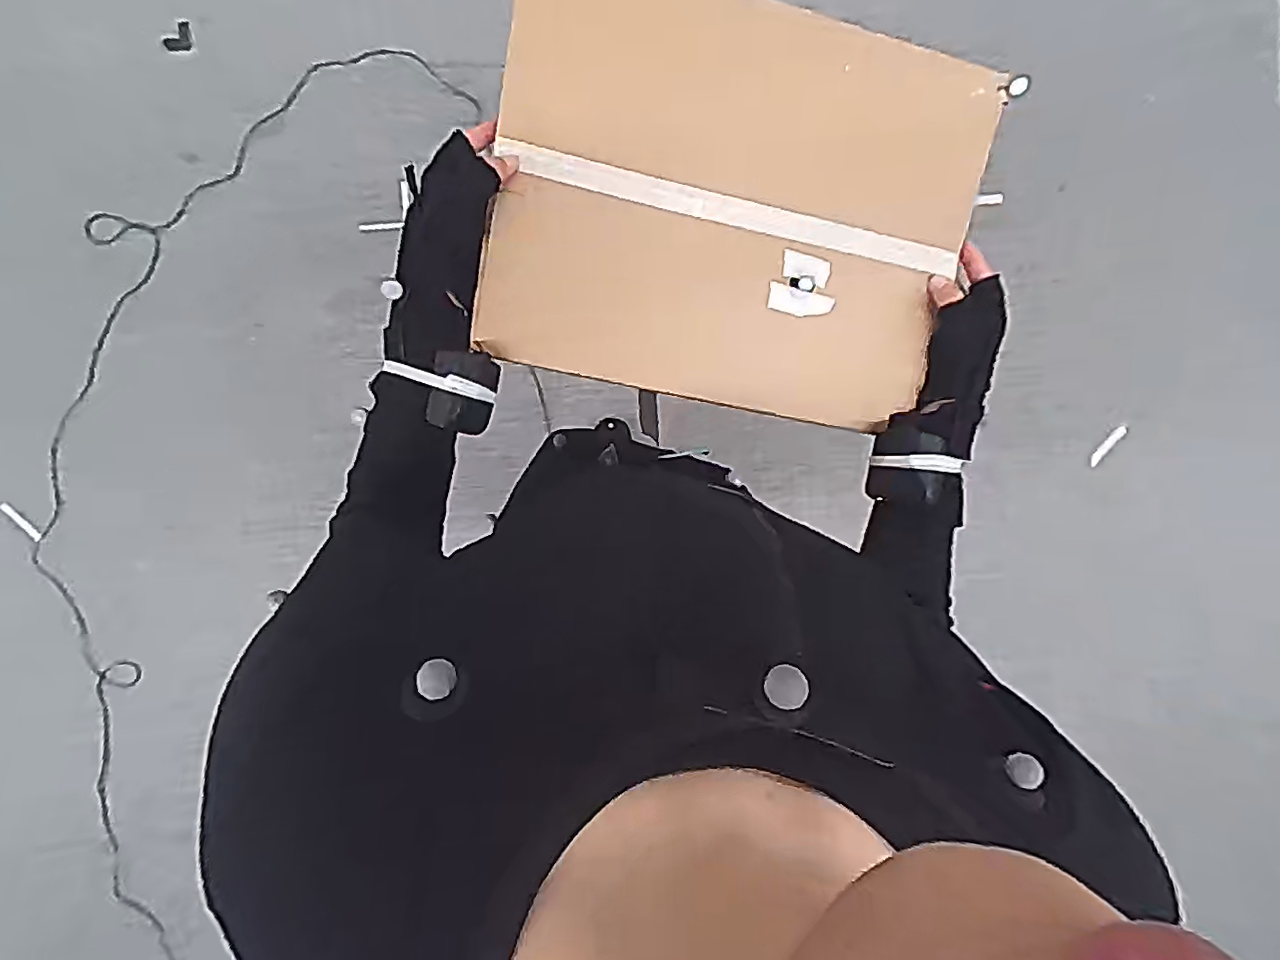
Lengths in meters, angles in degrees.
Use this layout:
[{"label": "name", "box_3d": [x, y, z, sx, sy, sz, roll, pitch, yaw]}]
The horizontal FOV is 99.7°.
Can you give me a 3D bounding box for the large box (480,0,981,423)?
[{"label": "large box", "box_3d": [0.059, -0.260, 0.611, 0.408, 0.320, 0.320, 9, 102, -9]}]
